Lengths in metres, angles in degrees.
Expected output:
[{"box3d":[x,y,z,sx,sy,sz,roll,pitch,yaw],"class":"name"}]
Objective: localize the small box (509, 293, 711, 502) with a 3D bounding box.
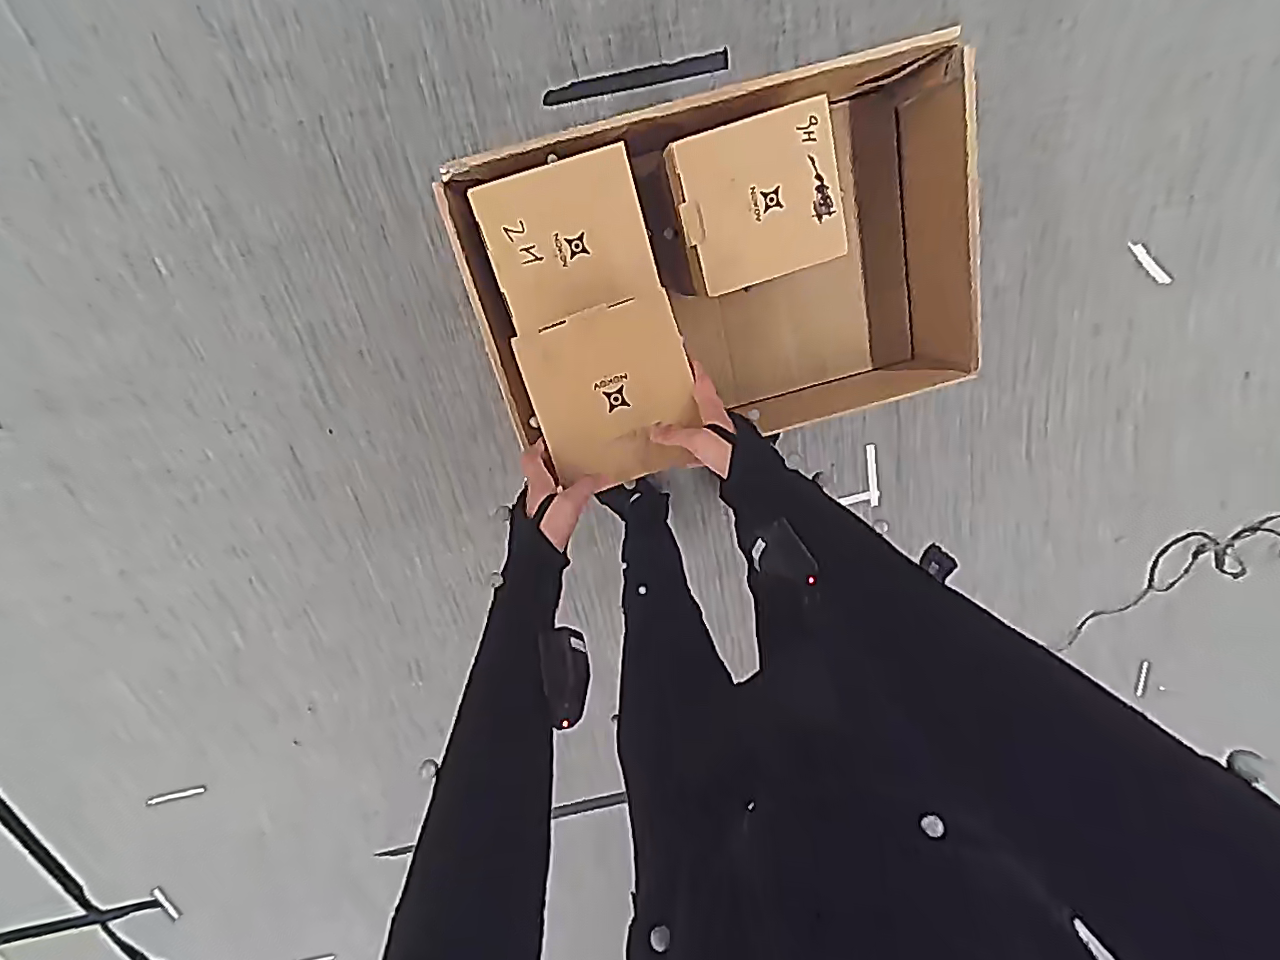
[{"box3d":[-0.032,-0.087,0.625,0.168,0.176,0.179,-19,94,0],"class":"small box"}]
